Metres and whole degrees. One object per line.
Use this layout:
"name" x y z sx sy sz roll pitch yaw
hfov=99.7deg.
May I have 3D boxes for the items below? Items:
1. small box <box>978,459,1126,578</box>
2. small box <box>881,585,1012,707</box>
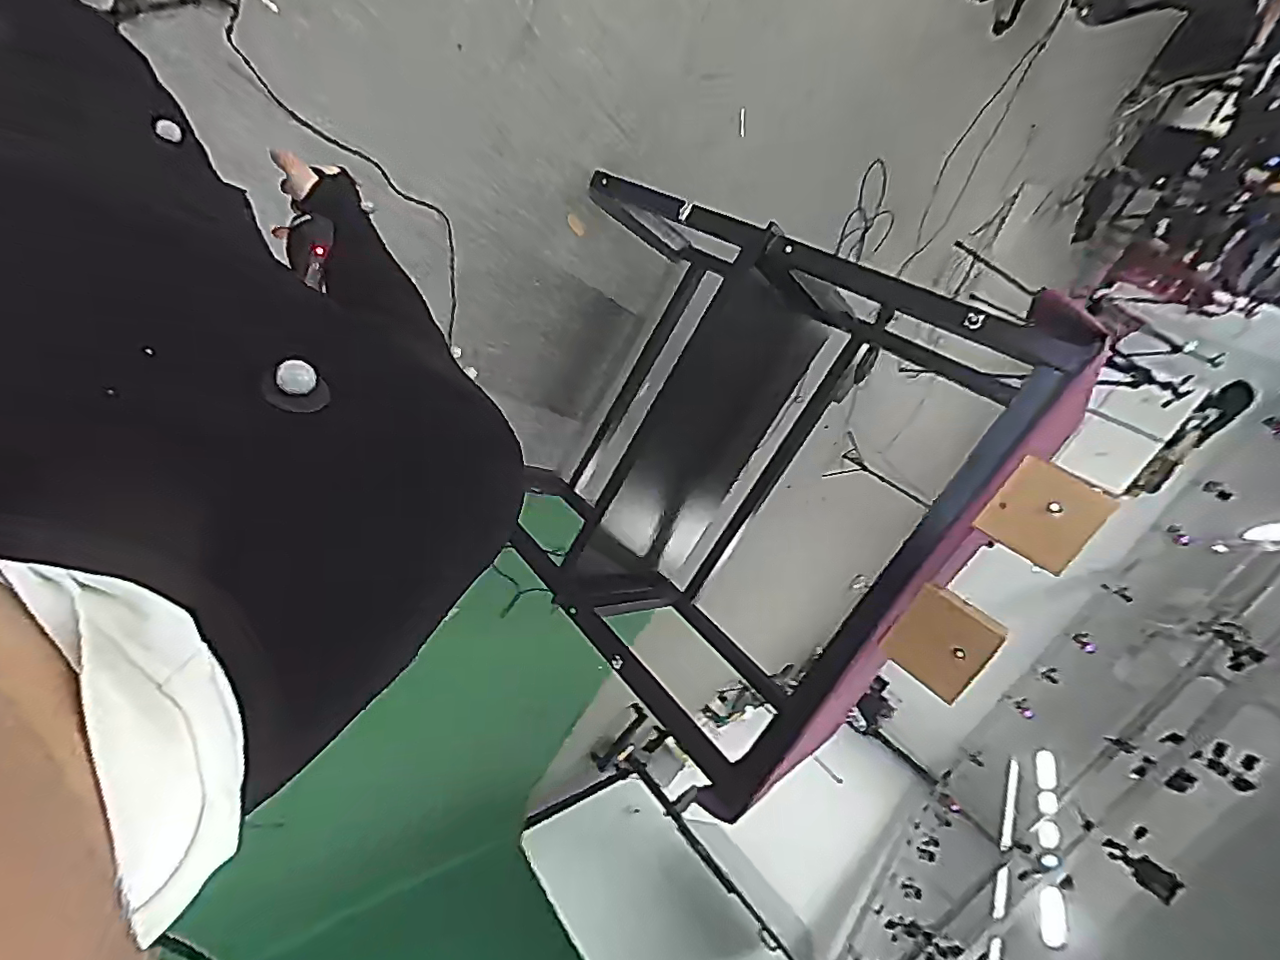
"small box" 0.793 0.075 1.061 0.179 0.176 0.168 10 114 -55
"small box" 0.639 0.334 1.130 0.168 0.176 0.179 12 113 -54
